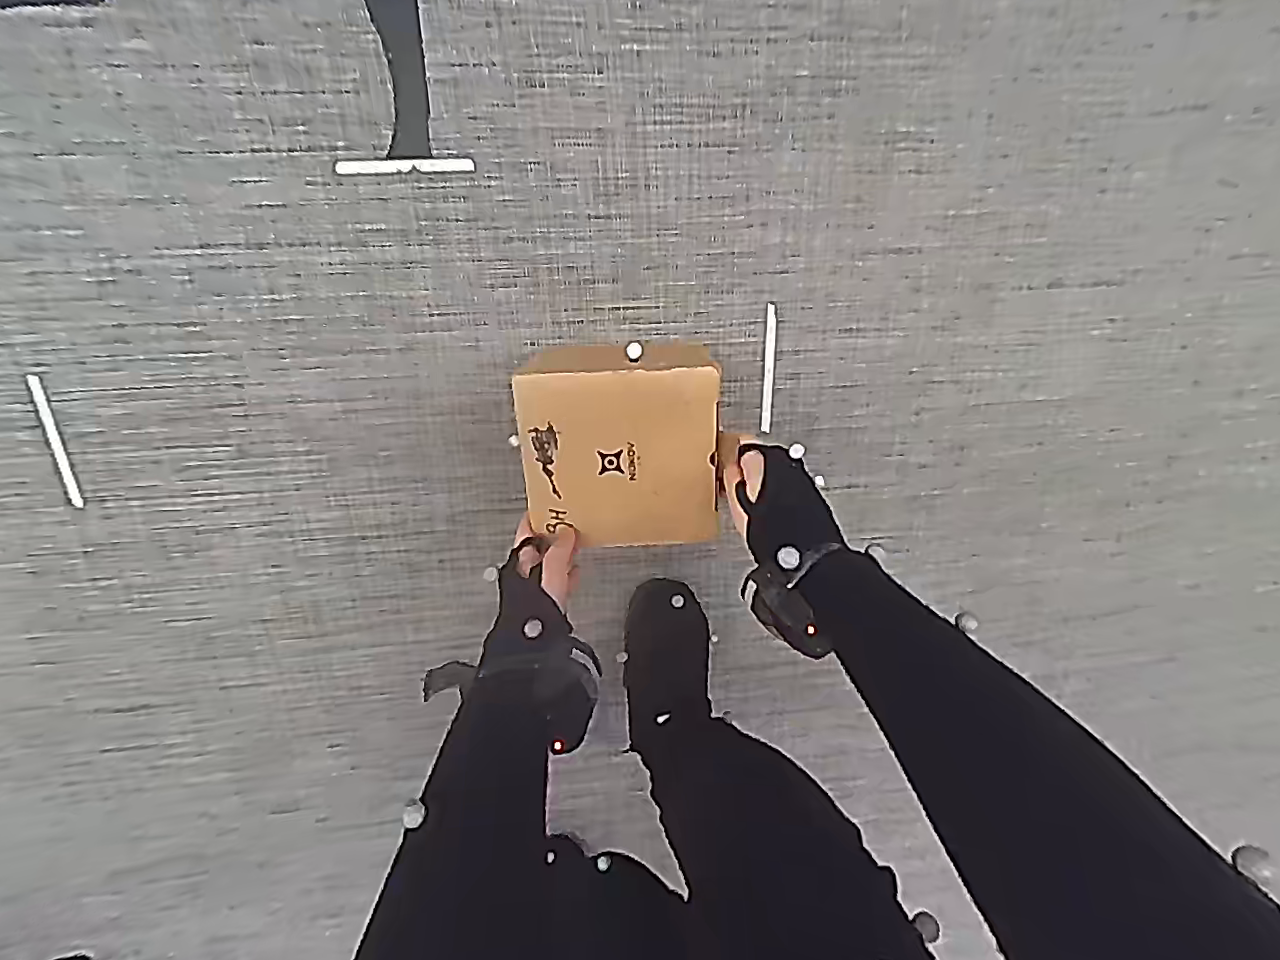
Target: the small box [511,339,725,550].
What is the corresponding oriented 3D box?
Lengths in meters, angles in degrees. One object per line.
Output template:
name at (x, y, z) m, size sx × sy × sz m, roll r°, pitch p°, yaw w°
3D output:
small box at (-0.017, -0.045, 0.539) m, size 0.179 × 0.176 × 0.168 m, roll -2°, pitch 112°, yaw 1°
